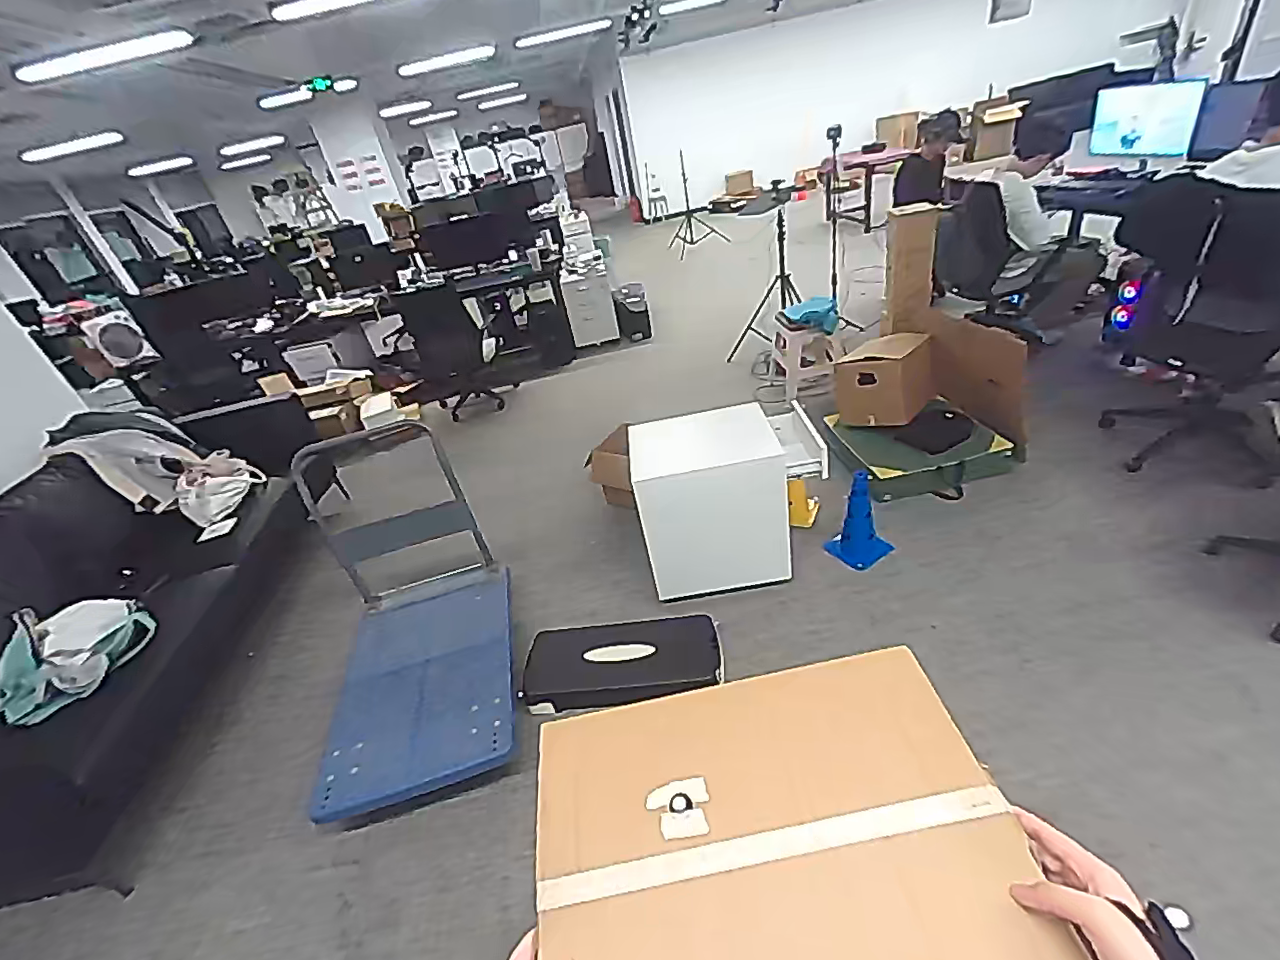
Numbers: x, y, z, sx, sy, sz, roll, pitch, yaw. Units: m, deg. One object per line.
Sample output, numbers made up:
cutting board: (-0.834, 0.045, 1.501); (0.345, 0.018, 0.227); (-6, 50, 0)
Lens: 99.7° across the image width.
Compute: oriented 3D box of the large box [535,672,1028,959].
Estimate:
large box: (0.138, 0.422, 0.593); (0.408, 0.320, 0.320); (-9, 54, 12)
